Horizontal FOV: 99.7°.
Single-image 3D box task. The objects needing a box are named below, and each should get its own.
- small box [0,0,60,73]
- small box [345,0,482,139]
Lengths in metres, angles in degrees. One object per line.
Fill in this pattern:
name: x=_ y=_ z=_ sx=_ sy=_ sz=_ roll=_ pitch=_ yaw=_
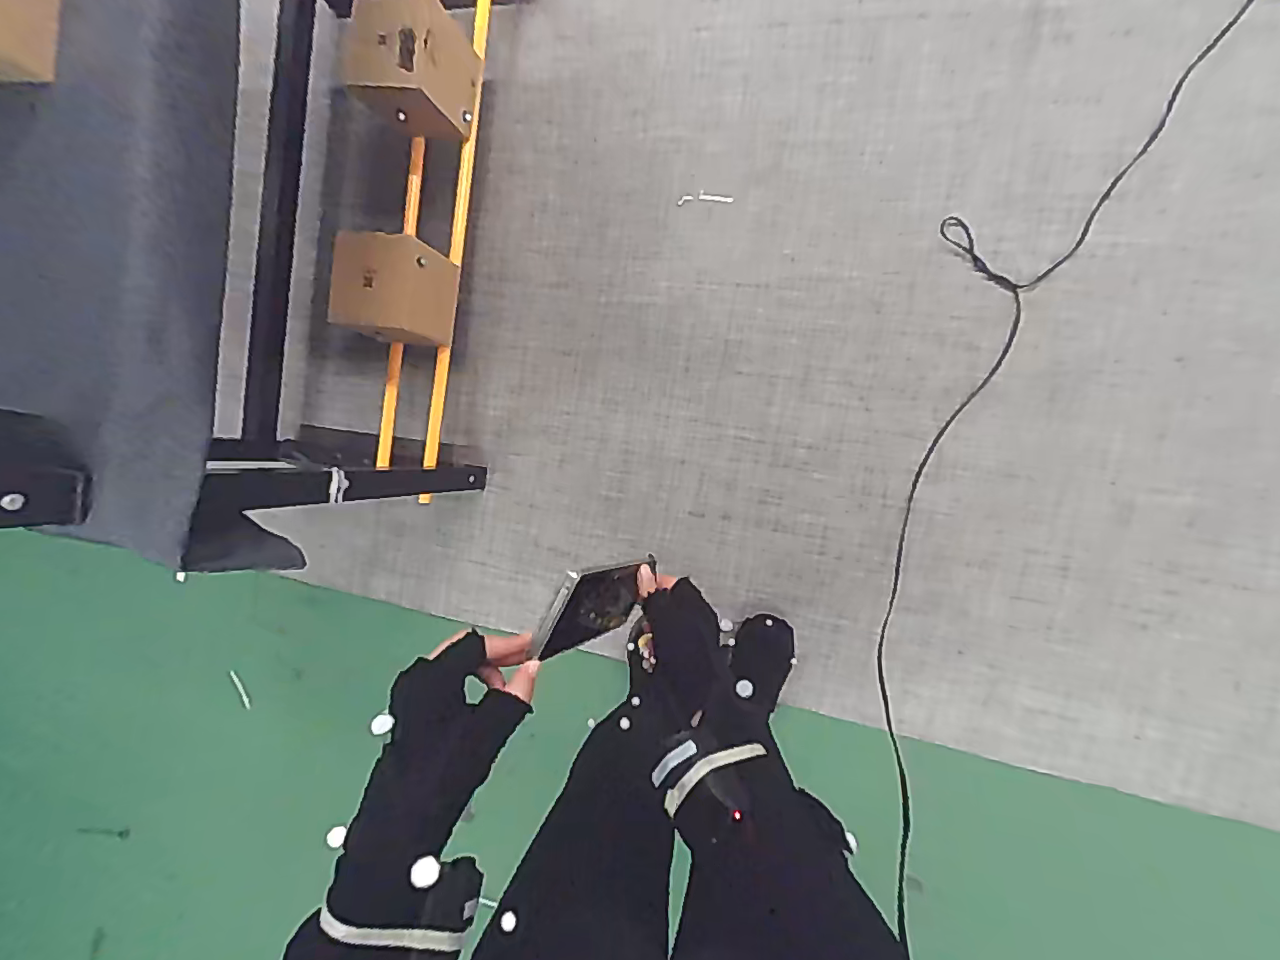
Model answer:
small box: x=-0.682 y=-0.514 z=0.495 sx=0.168 sy=0.176 sz=0.179 roll=12 pitch=94 yaw=14
small box: x=-0.437 y=-0.805 z=1.067 sx=0.179 sy=0.176 sz=0.168 roll=12 pitch=94 yaw=15
